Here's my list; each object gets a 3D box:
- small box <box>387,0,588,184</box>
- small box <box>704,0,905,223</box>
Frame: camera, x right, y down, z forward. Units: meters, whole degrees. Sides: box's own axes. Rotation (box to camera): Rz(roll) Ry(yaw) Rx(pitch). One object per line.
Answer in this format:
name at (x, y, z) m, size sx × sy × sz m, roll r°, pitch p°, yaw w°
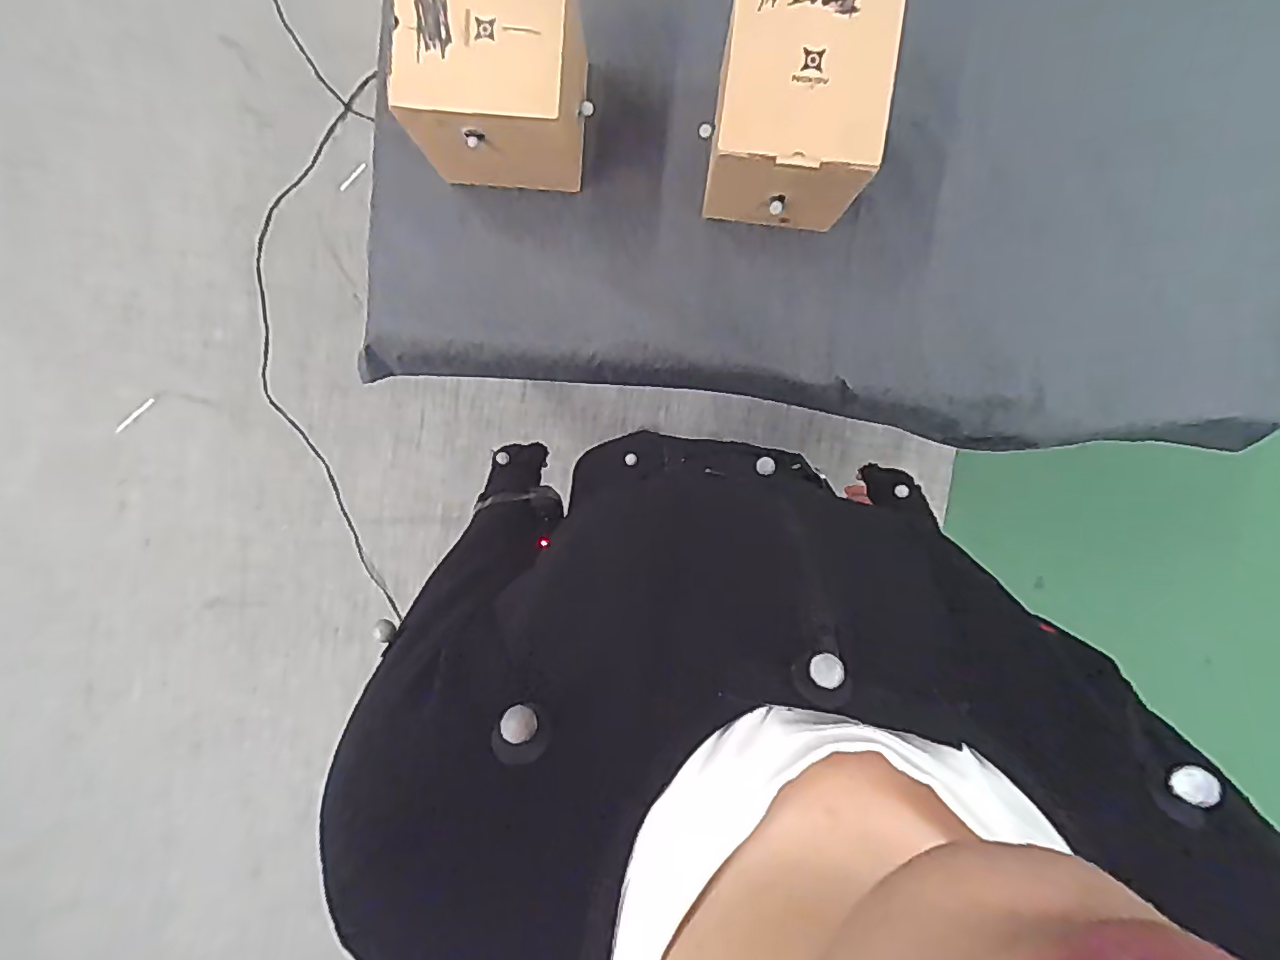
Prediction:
small box at (-0.160, -0.460, 0.613) m, size 0.179 × 0.176 × 0.168 m, roll 5°, pitch 96°, yaw 0°
small box at (0.168, -0.413, 0.611) m, size 0.168 × 0.176 × 0.179 m, roll 7°, pitch 96°, yaw 1°
